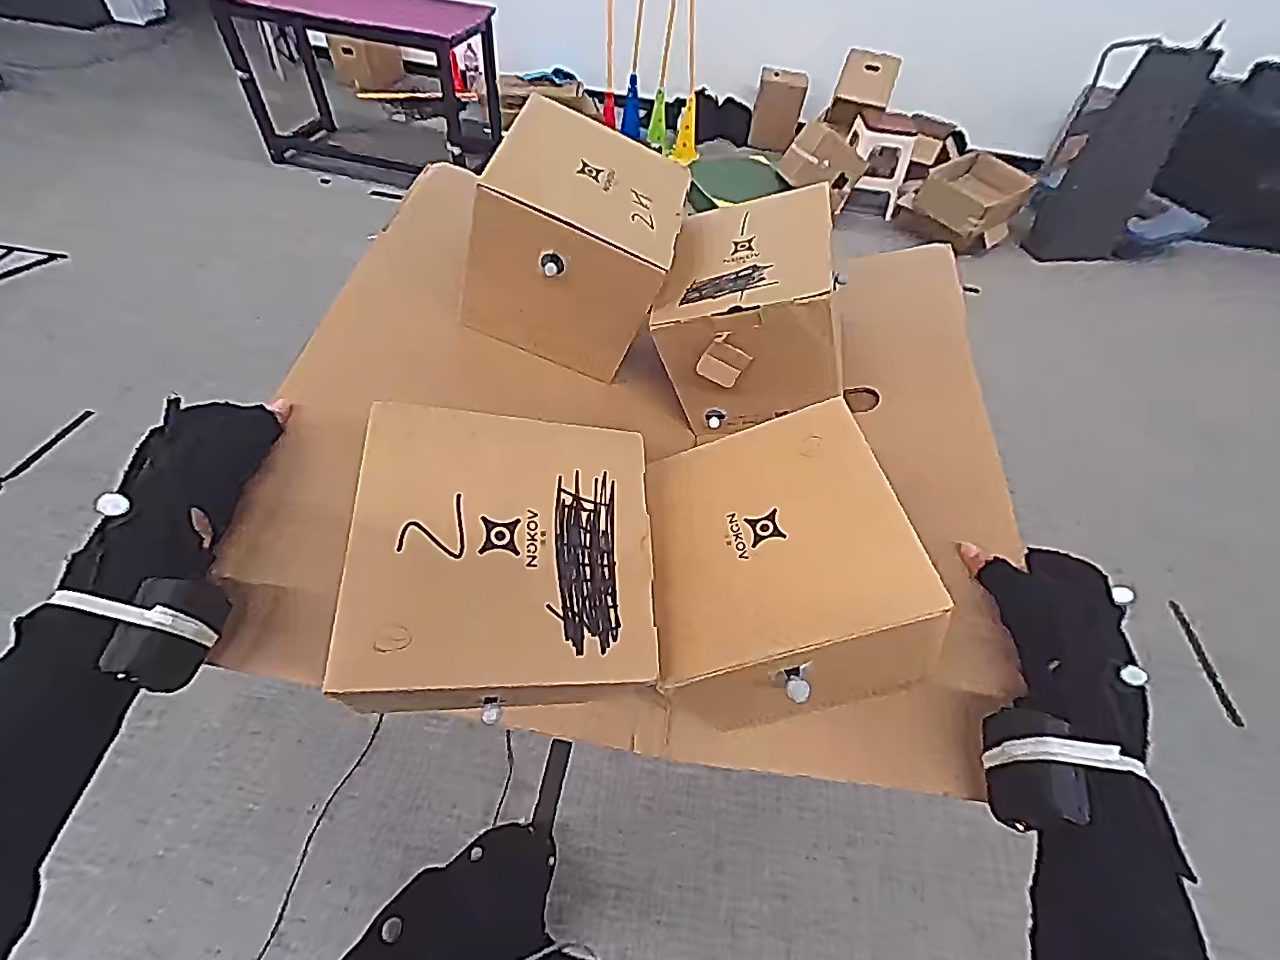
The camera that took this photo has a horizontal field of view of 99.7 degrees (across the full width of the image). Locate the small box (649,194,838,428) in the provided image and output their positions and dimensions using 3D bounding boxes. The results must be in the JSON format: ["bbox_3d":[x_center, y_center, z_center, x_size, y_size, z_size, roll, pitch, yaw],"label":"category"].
[{"bbox_3d":[0.125,-0.170,0.594,0.168,0.176,0.179,-3,54,22],"label":"small box"}]
